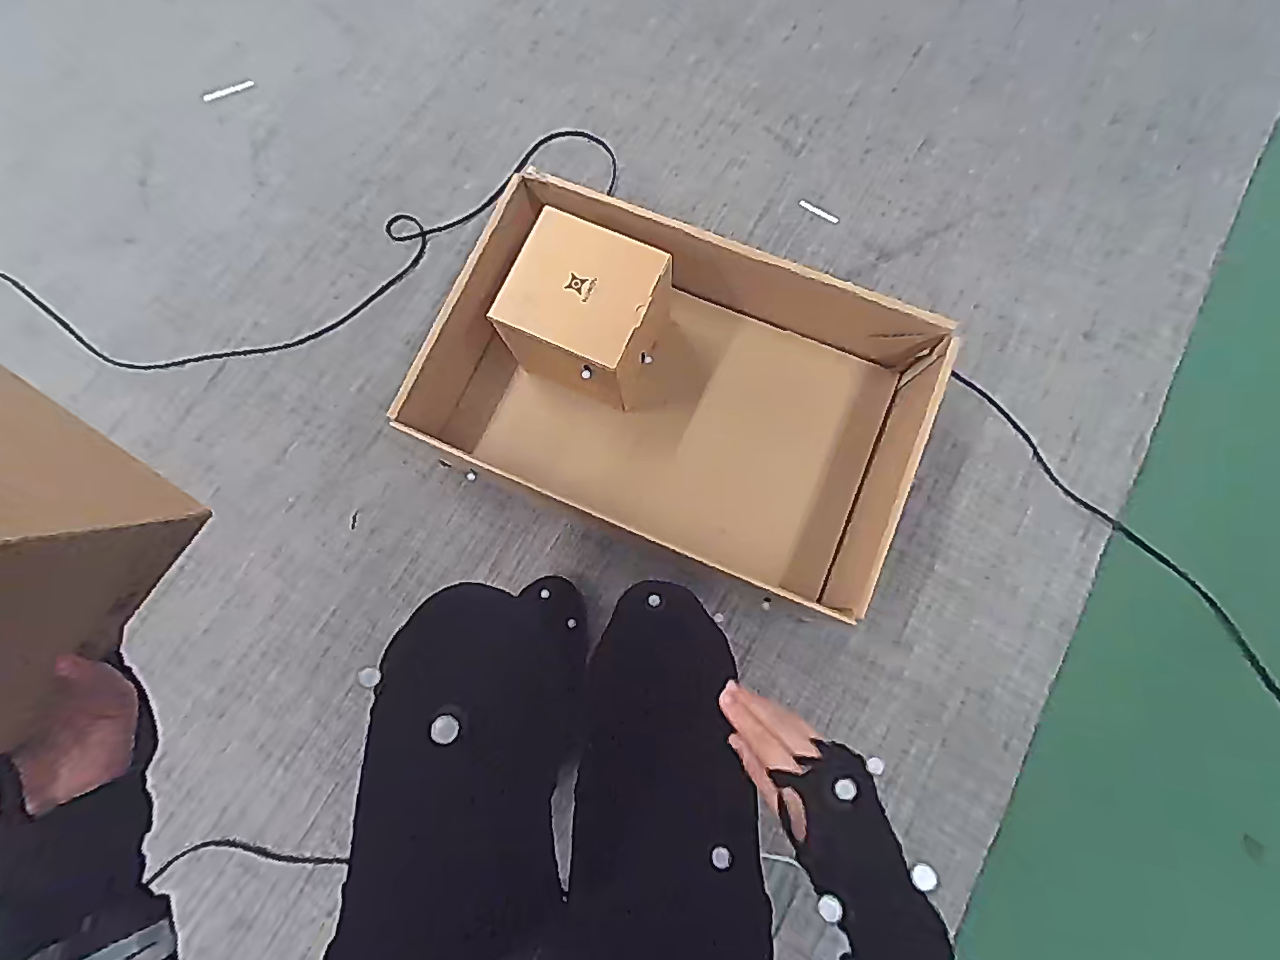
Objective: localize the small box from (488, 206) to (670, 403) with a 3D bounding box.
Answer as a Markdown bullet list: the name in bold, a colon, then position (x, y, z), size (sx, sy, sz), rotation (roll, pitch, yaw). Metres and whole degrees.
- **small box**: position (-0.072, -0.225, 0.735), size (0.179, 0.176, 0.168), rotation (23, 82, 5)
